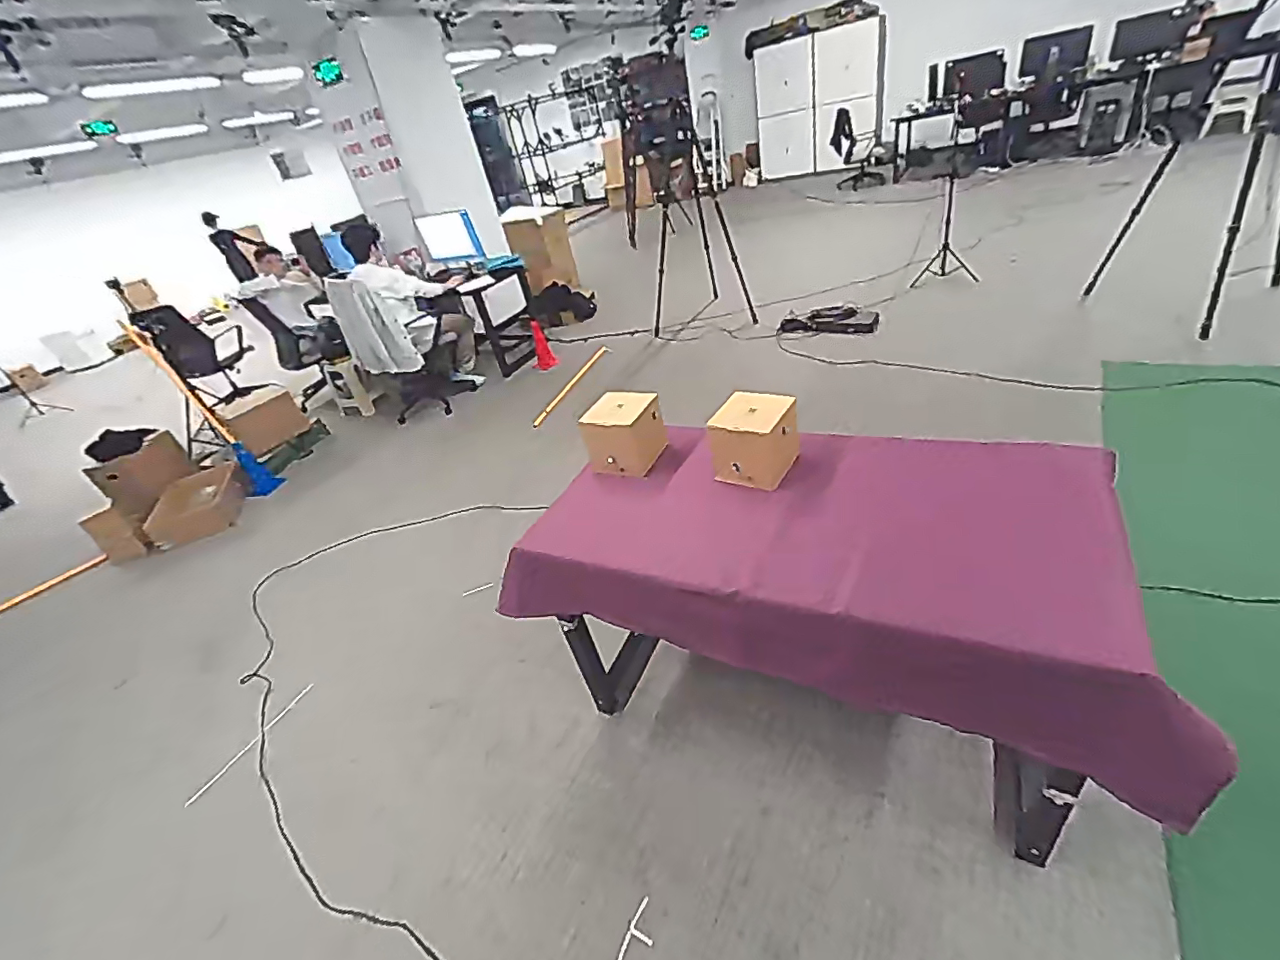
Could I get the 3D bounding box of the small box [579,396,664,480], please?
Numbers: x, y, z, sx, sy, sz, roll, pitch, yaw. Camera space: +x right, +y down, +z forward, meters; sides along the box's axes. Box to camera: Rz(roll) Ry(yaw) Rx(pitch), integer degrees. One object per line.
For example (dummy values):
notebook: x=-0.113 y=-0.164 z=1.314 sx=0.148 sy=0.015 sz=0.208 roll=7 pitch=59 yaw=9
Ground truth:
small box: x=-0.043 y=-0.122 z=1.525 sx=0.168 sy=0.176 sz=0.179 roll=6 pitch=39 yaw=29

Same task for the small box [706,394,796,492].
small box: x=0.286 y=-0.095 z=1.362 sx=0.168 sy=0.176 sz=0.179 roll=12 pitch=43 yaw=34
